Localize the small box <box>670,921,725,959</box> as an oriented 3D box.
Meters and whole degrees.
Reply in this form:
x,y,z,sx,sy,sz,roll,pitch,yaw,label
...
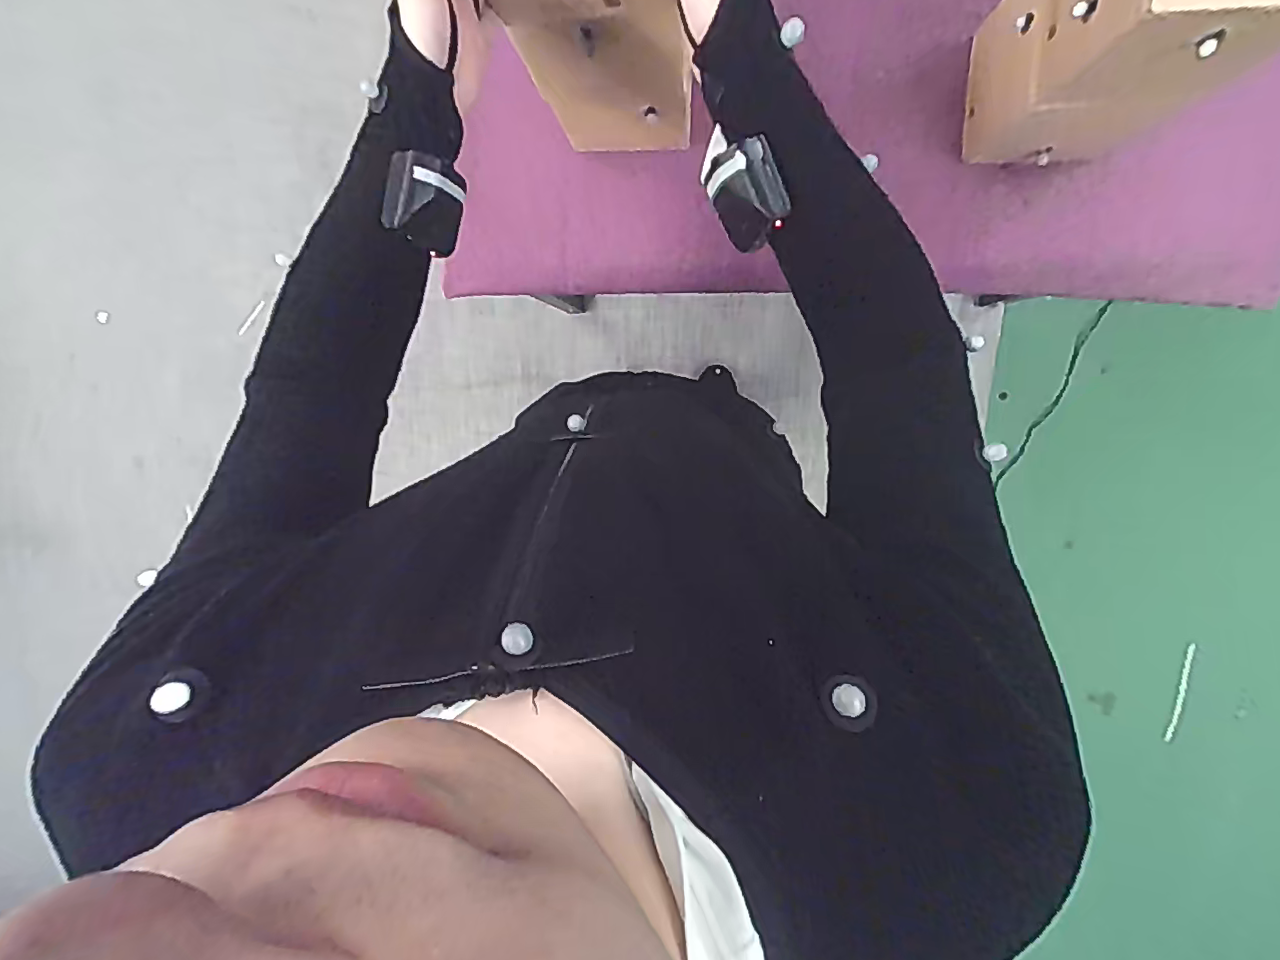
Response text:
x,y,z,sx,sy,sz,roll,pitch,yaw,label
0.198,1.683,1.871,0.179,0.176,0.168,8,102,6,small box

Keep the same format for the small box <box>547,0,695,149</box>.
x,y,z,sx,sy,sz,roll,pitch,yaw,label
-0.018,-0.563,0.720,0.179,0.176,0.168,3,101,6,small box

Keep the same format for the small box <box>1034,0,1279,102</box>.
x,y,z,sx,sy,sz,roll,pitch,yaw,label
0.513,-0.481,0.503,0.179,0.176,0.168,3,102,7,small box

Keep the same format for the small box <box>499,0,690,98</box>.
x,y,z,sx,sy,sz,roll,pitch,yaw,label
-0.036,-0.528,0.562,0.179,0.176,0.168,3,102,7,small box

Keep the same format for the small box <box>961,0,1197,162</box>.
x,y,z,sx,sy,sz,roll,pitch,yaw,label
0.532,-0.511,0.663,0.179,0.176,0.168,1,101,7,small box
